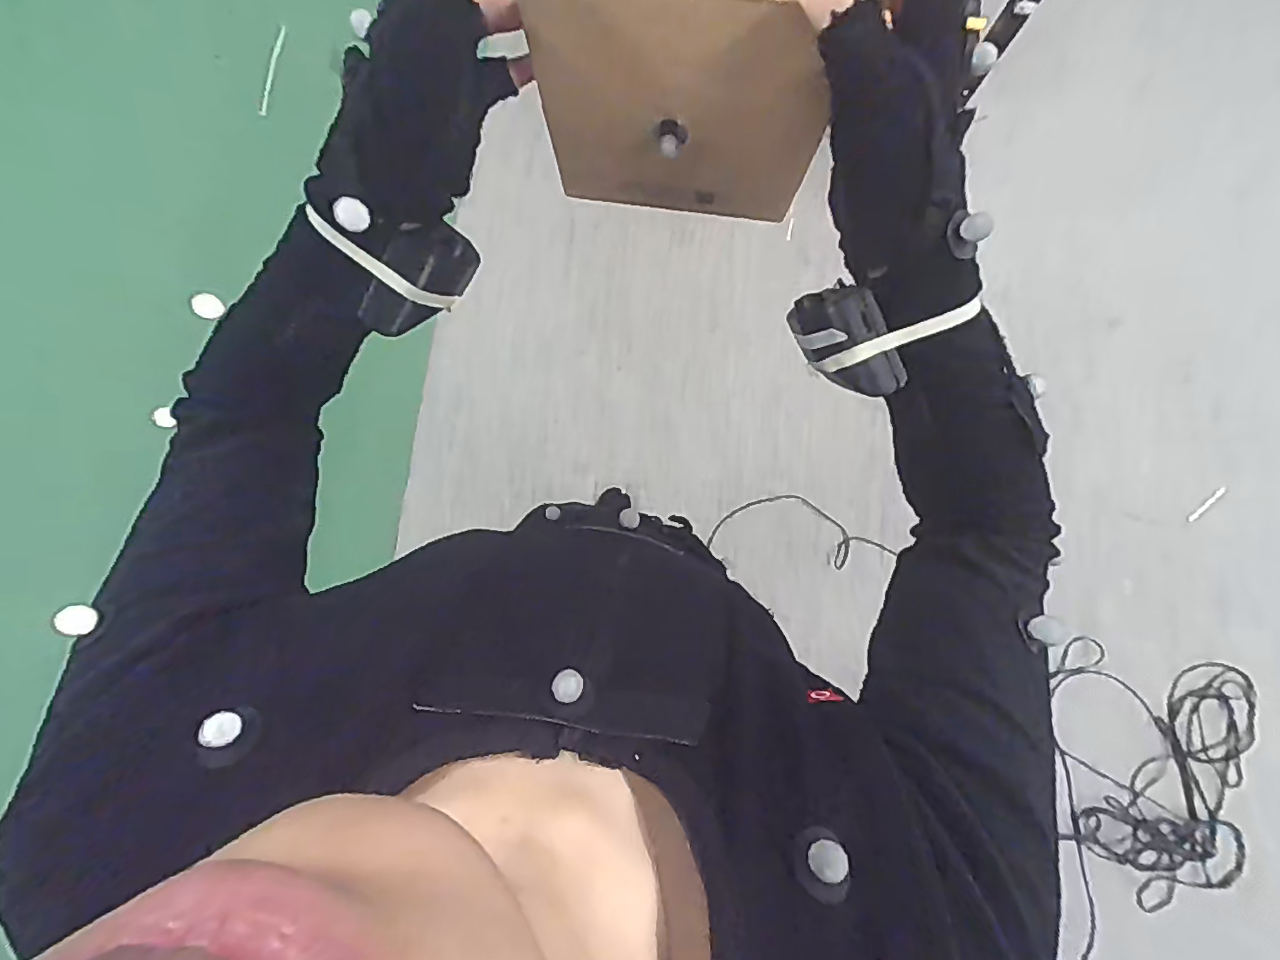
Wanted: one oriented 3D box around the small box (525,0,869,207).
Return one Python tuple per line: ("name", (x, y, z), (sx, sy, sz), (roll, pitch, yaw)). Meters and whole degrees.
("small box", (0.038, -0.299, 0.331), (0.168, 0.176, 0.179), (8, 84, 1))
